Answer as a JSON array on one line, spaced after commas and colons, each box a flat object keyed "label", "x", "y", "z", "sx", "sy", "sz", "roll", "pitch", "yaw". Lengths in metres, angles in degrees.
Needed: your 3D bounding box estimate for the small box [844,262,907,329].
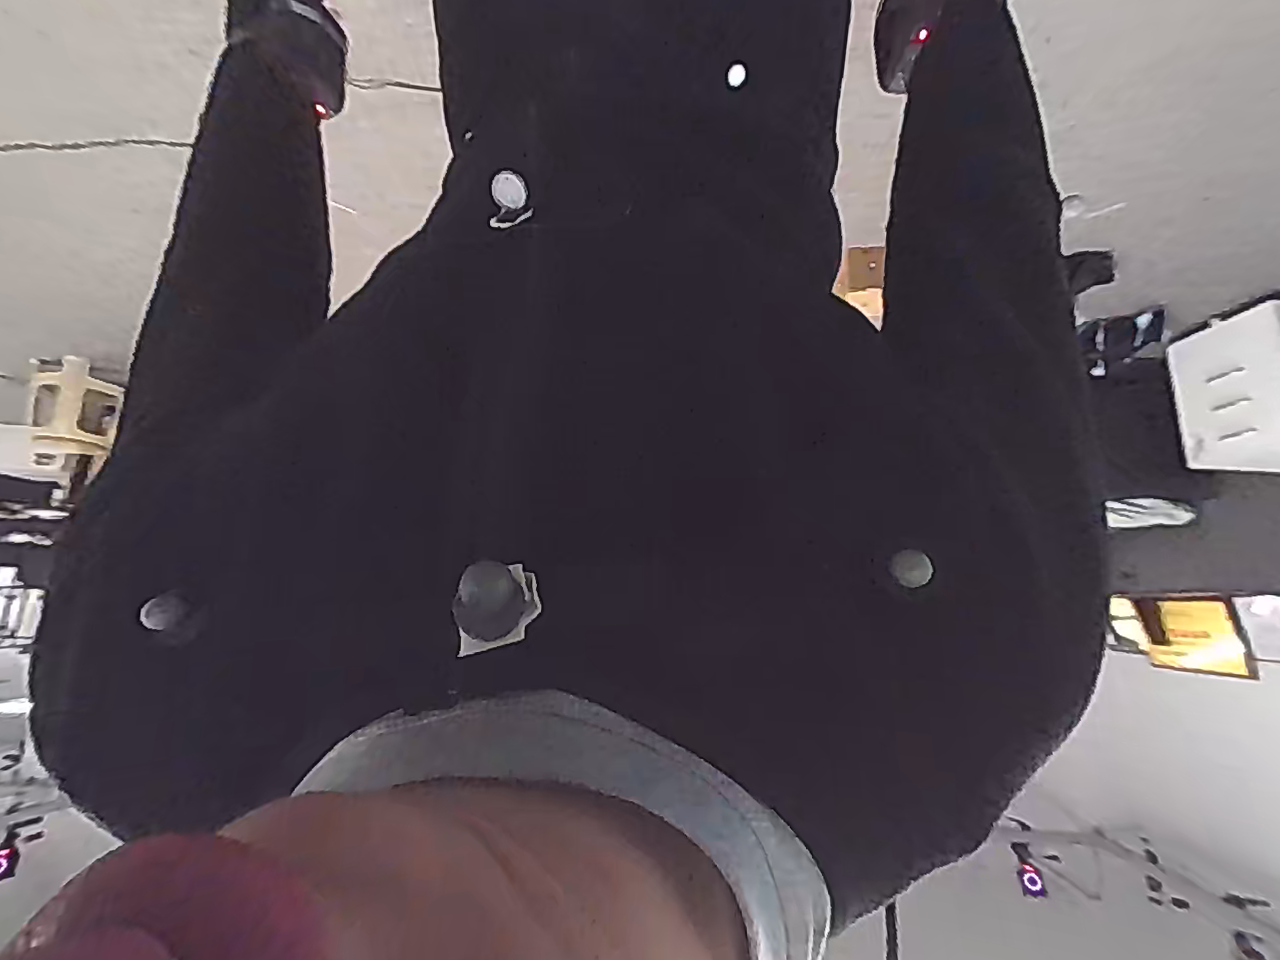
[{"label": "small box", "x": 0.833, "y": -0.661, "z": 1.933, "sx": 0.168, "sy": 0.176, "sz": 0.179, "roll": 1, "pitch": 165, "yaw": 7}]
